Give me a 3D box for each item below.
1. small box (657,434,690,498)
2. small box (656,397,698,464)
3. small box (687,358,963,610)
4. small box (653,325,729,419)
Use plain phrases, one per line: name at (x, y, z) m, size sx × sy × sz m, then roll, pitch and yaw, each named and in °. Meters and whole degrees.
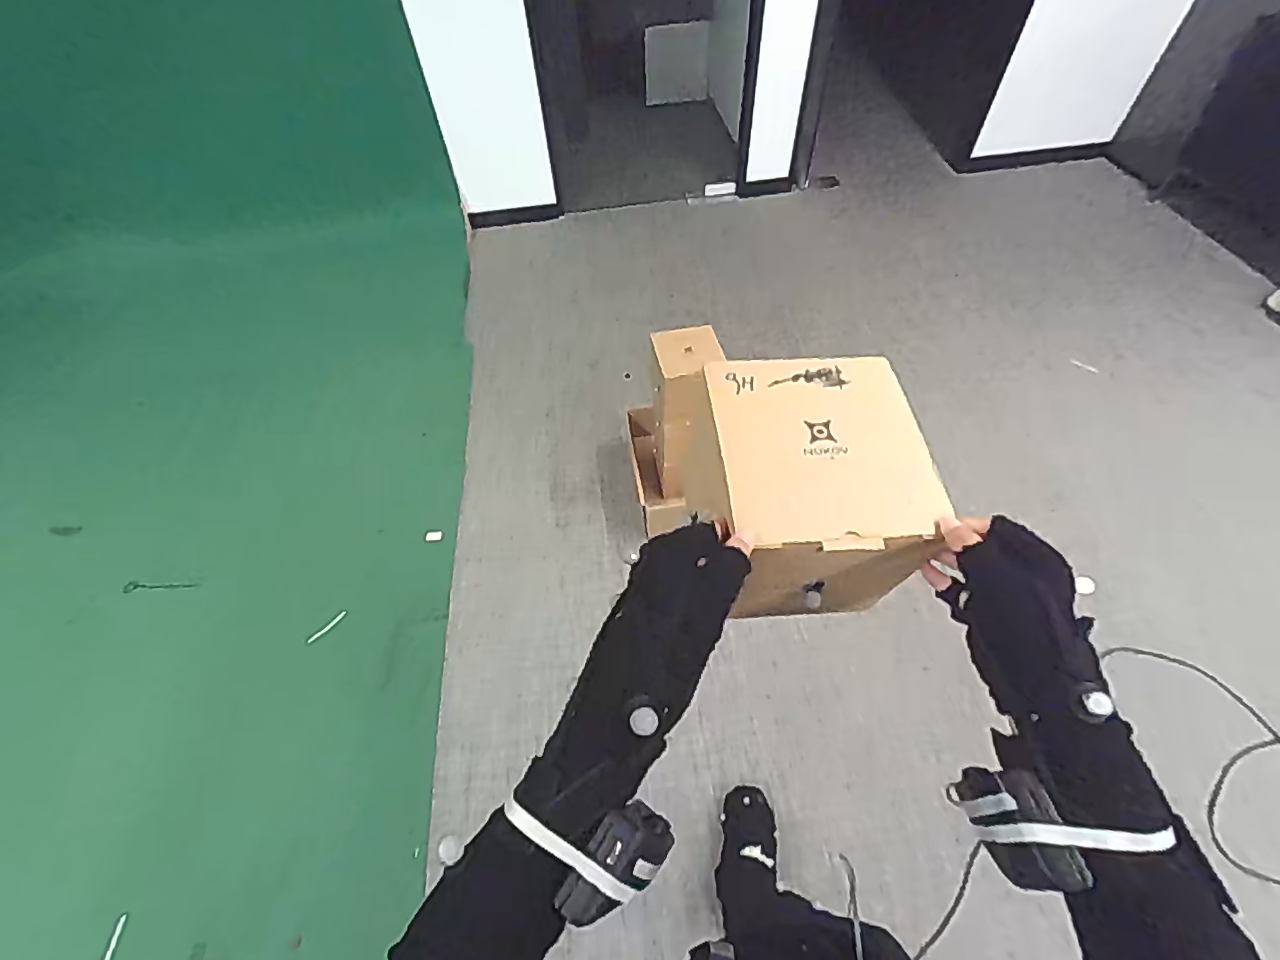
small box at (0.143, -0.069, 1.656) m, size 0.168 × 0.176 × 0.179 m, roll -7°, pitch 53°, yaw -3°
small box at (0.138, -0.169, 1.527) m, size 0.168 × 0.176 × 0.179 m, roll -8°, pitch 53°, yaw -4°
small box at (0.141, 0.012, 0.488) m, size 0.168 × 0.176 × 0.179 m, roll -2°, pitch 59°, yaw -5°
small box at (0.129, -0.272, 1.401) m, size 0.168 × 0.176 × 0.179 m, roll -9°, pitch 53°, yaw -6°
